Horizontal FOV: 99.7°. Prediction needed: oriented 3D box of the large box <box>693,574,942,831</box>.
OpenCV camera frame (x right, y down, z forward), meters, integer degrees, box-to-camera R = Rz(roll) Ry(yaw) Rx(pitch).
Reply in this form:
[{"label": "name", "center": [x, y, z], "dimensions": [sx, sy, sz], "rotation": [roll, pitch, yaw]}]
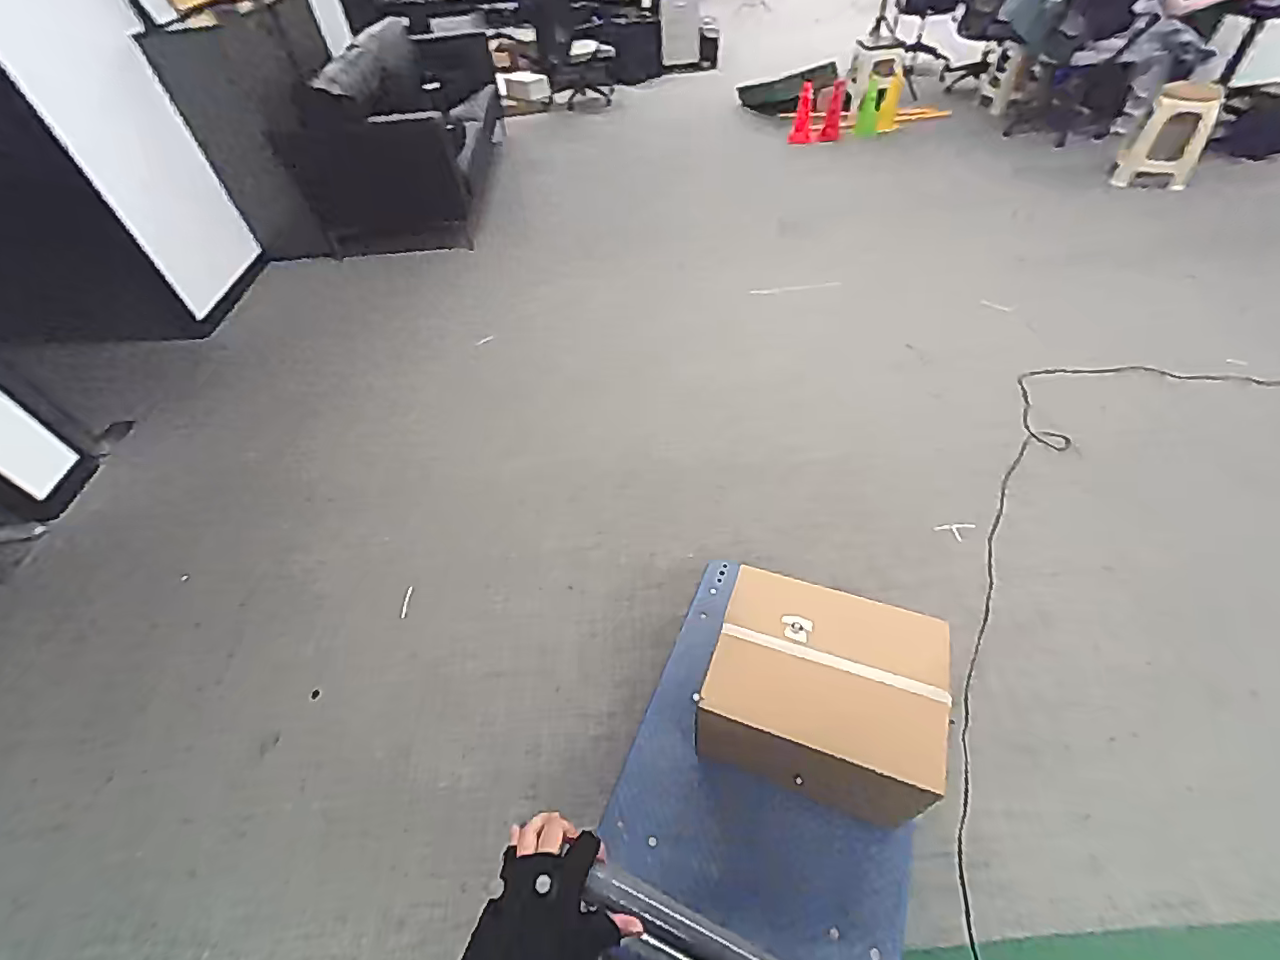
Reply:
[{"label": "large box", "center": [0.346, 0.443, 1.092], "dimensions": [0.408, 0.320, 0.320], "rotation": [13, 50, 19]}]
